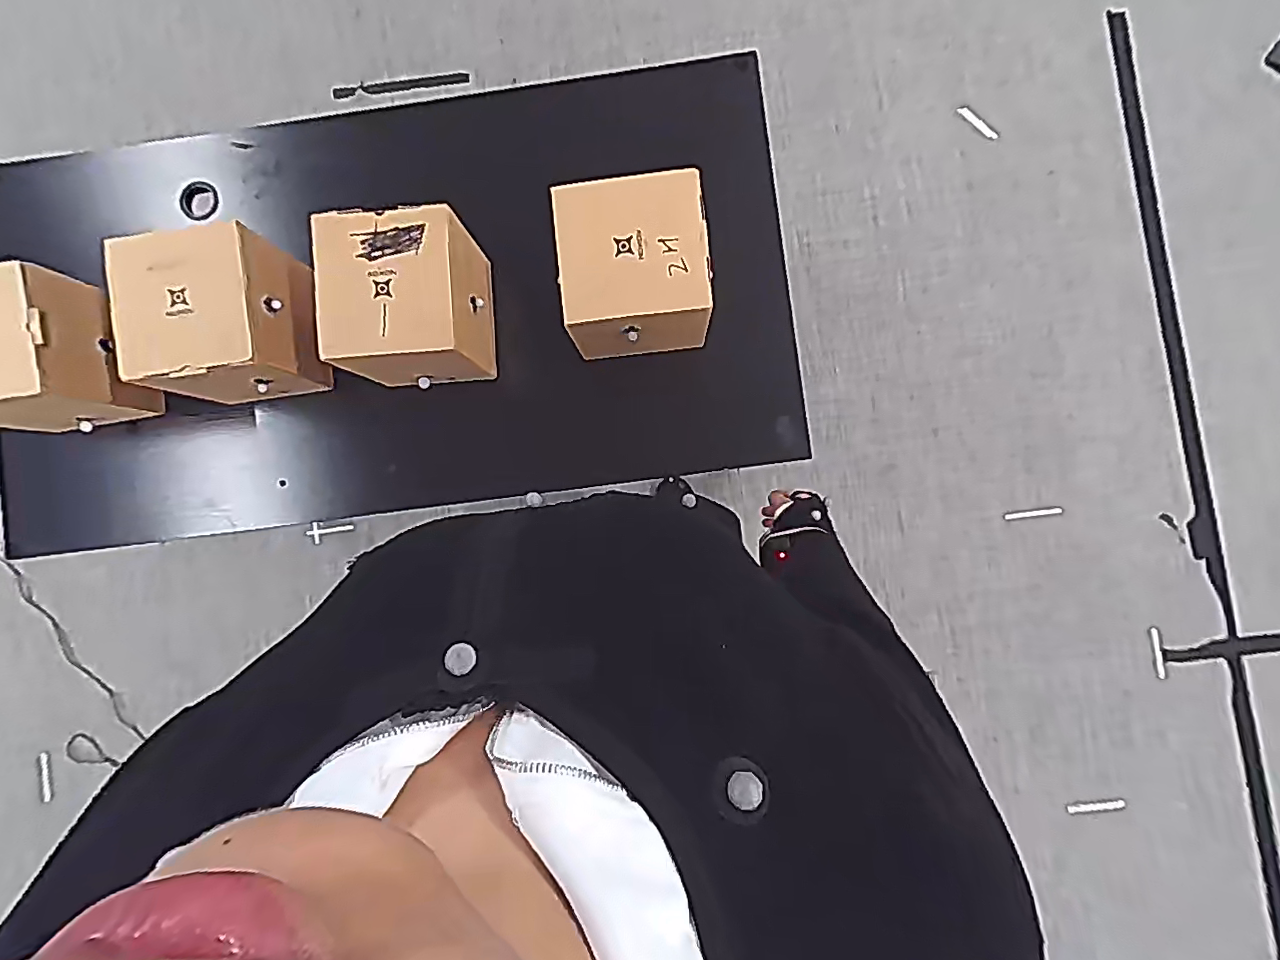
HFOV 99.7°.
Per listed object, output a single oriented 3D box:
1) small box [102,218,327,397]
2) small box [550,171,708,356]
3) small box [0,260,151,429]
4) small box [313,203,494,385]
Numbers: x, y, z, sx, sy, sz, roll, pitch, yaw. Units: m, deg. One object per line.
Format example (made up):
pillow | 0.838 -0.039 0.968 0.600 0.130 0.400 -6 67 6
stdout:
small box | -0.548 -0.213 0.720 0.168 0.176 0.179 -8 87 0
small box | -0.010 -0.268 0.706 0.179 0.176 0.168 -6 89 2
small box | -0.806 -0.169 0.723 0.179 0.176 0.168 -10 88 0
small box | -0.299 -0.233 0.713 0.168 0.176 0.179 -4 89 1
